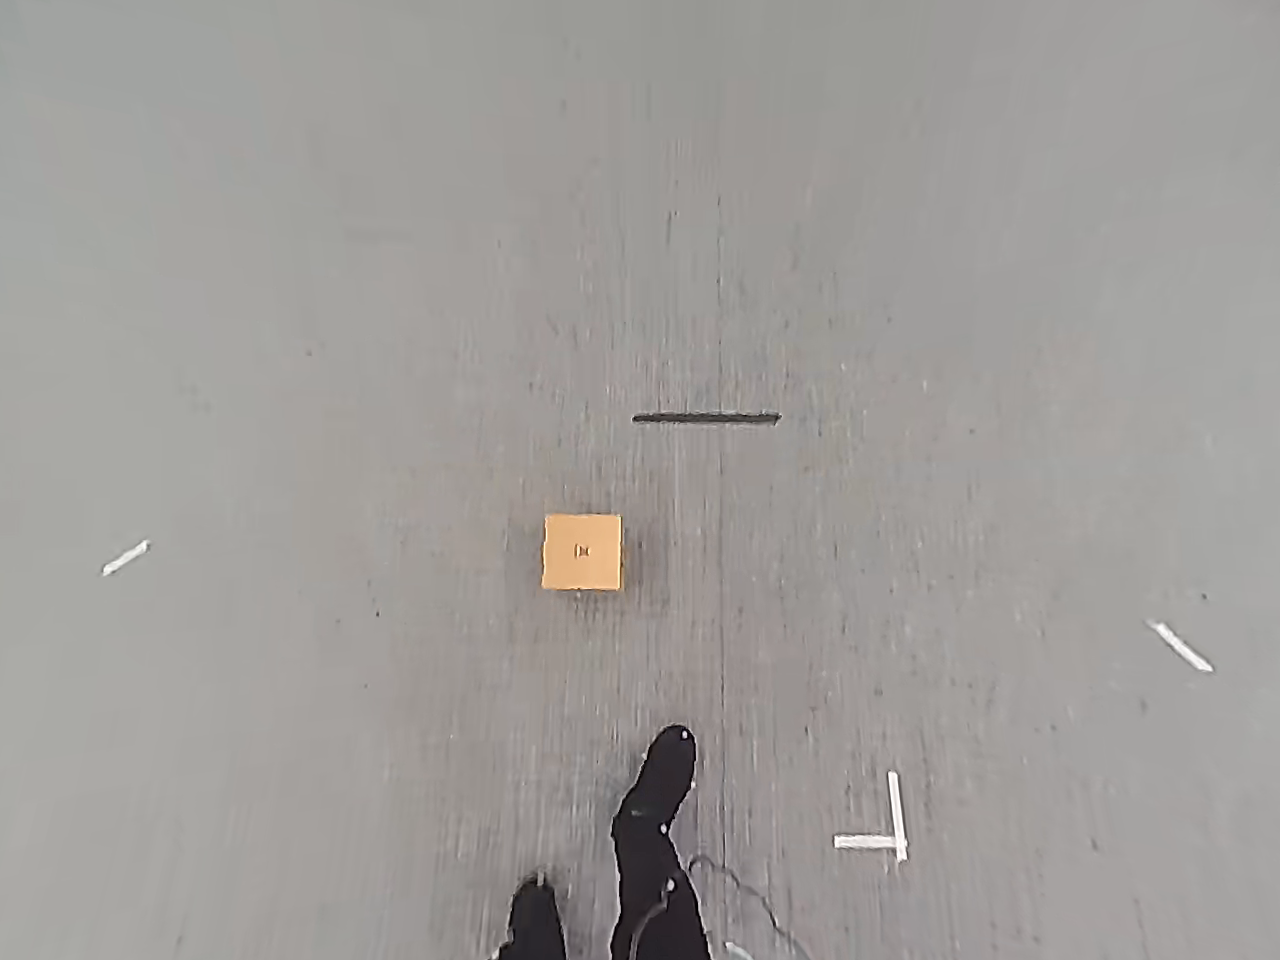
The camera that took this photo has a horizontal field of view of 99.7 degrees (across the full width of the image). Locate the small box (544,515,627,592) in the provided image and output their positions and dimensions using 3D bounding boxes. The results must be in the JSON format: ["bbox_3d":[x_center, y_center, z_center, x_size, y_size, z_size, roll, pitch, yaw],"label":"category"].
[{"bbox_3d":[-0.122,0.179,1.291,0.179,0.176,0.168,0,76,3],"label":"small box"}]
